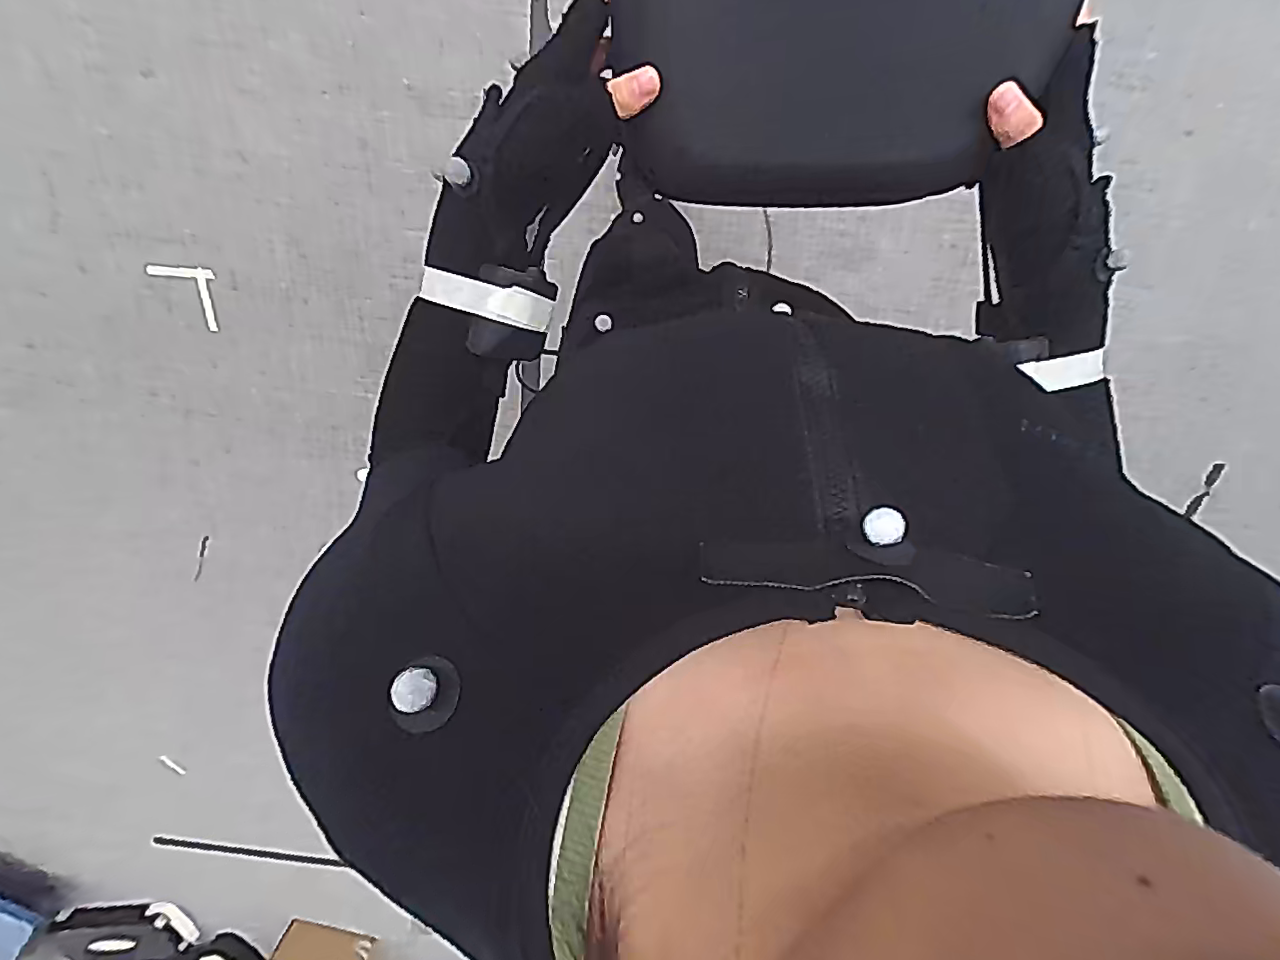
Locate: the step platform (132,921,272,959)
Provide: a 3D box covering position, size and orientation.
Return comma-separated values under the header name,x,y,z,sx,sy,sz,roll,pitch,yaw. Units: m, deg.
name,x,y,z,sx,sy,sz,roll,pitch,yaw
step platform,-2.229,2.435,2.698,0.684,0.204,0.286,-21,112,11
